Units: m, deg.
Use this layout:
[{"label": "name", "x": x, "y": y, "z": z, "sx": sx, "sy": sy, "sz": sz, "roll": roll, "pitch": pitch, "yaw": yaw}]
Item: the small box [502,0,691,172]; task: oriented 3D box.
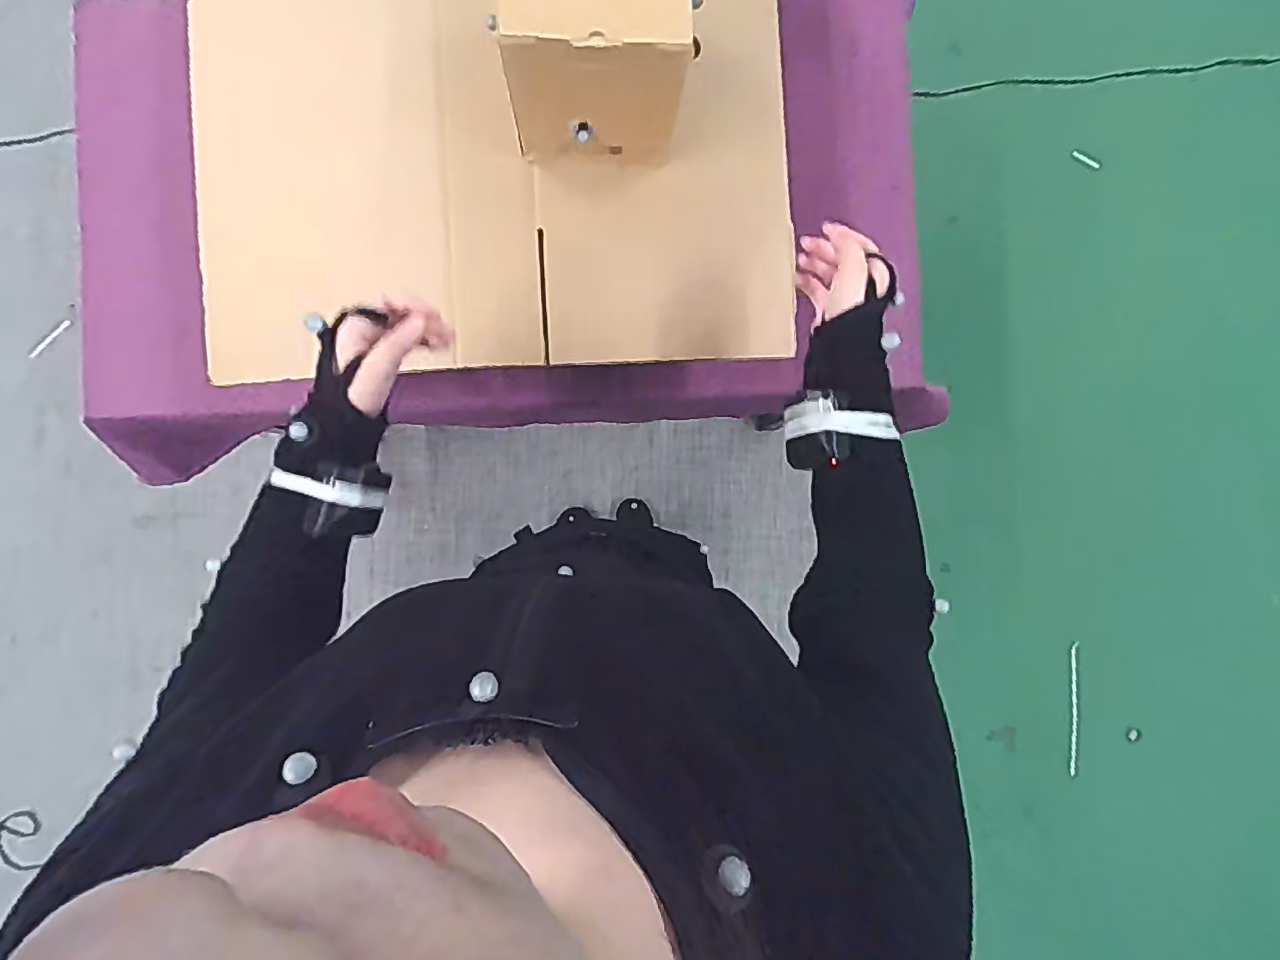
[{"label": "small box", "x": -0.043, "y": -0.449, "z": 0.548, "sx": 0.168, "sy": 0.176, "sz": 0.179, "roll": -1, "pitch": 90, "yaw": -4}]
